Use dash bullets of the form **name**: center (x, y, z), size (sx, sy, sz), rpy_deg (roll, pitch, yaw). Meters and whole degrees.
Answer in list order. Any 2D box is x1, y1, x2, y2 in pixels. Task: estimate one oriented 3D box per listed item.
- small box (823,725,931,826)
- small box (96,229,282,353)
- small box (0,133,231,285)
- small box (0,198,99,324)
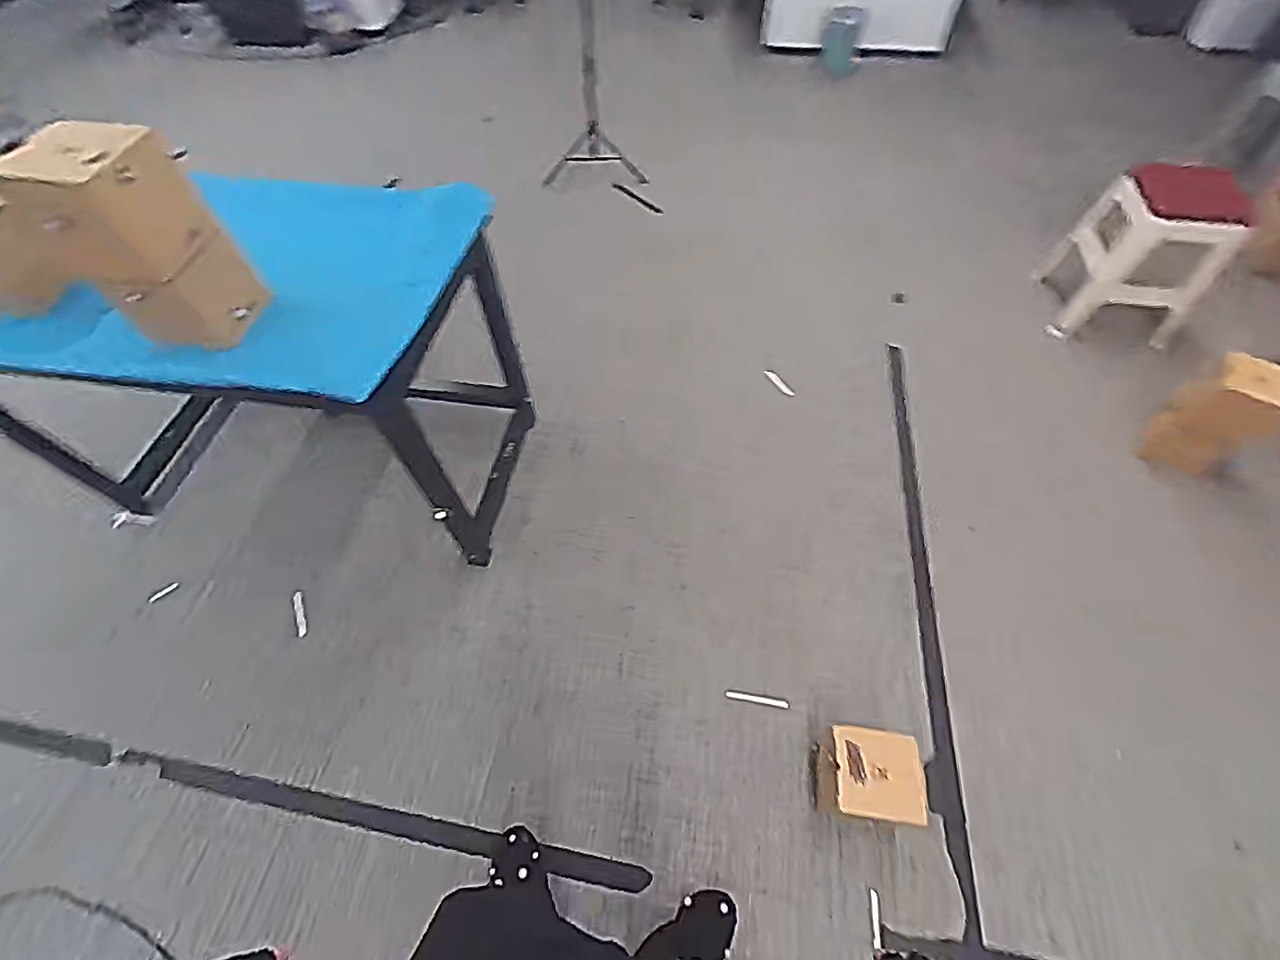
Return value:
- **small box**: center (0.507, 0.653, 1.189), size (0.179, 0.176, 0.168), rpy_deg (7, 58, 5)
- **small box**: center (-0.845, -0.363, 1.034), size (0.179, 0.176, 0.168), rpy_deg (7, 58, 7)
- **small box**: center (-0.843, -0.444, 0.893), size (0.179, 0.176, 0.168), rpy_deg (4, 57, 4)
- **small box**: center (-1.282, -0.448, 1.104), size (0.168, 0.176, 0.179), rpy_deg (9, 60, 9)
